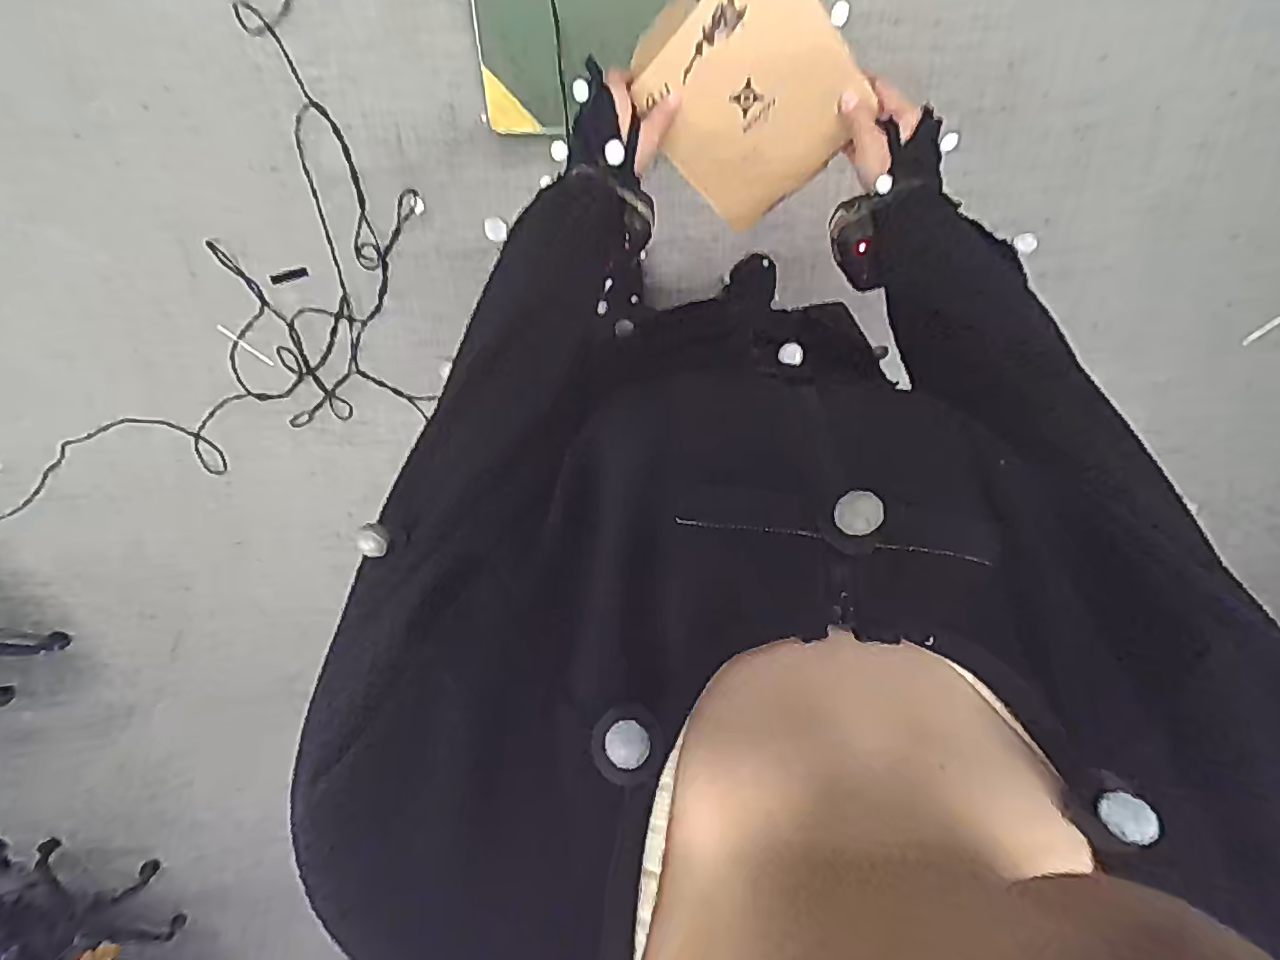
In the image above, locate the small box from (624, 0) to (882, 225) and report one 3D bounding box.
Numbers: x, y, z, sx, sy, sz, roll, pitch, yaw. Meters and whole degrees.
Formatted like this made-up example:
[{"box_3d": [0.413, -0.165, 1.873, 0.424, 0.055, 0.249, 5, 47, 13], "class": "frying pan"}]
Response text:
[{"box_3d": [0.108, -0.404, 0.532, 0.179, 0.176, 0.168, 33, 134, -31], "class": "small box"}]
